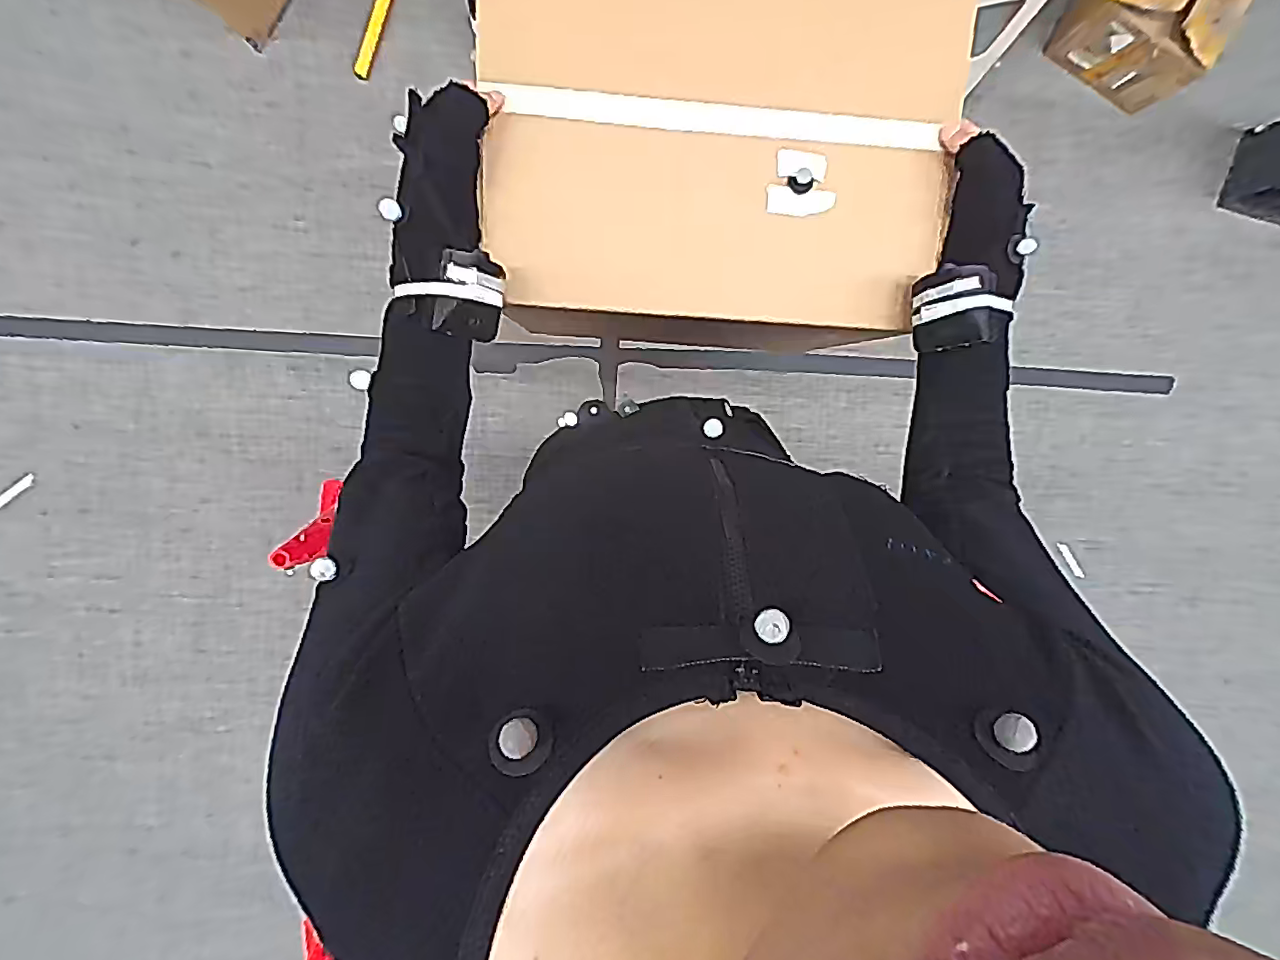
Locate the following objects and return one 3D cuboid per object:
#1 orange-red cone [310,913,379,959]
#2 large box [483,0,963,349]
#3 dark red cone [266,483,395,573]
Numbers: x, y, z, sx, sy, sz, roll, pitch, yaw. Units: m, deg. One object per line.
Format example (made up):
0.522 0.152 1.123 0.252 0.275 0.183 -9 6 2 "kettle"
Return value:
-0.879 1.414 1.452 0.198 0.360 0.199 0 100 -3 "orange-red cone"
0.057 -0.323 0.602 0.408 0.320 0.320 2 100 -5 "large box"
-0.733 0.138 1.251 0.201 0.394 0.202 8 98 -6 "dark red cone"
